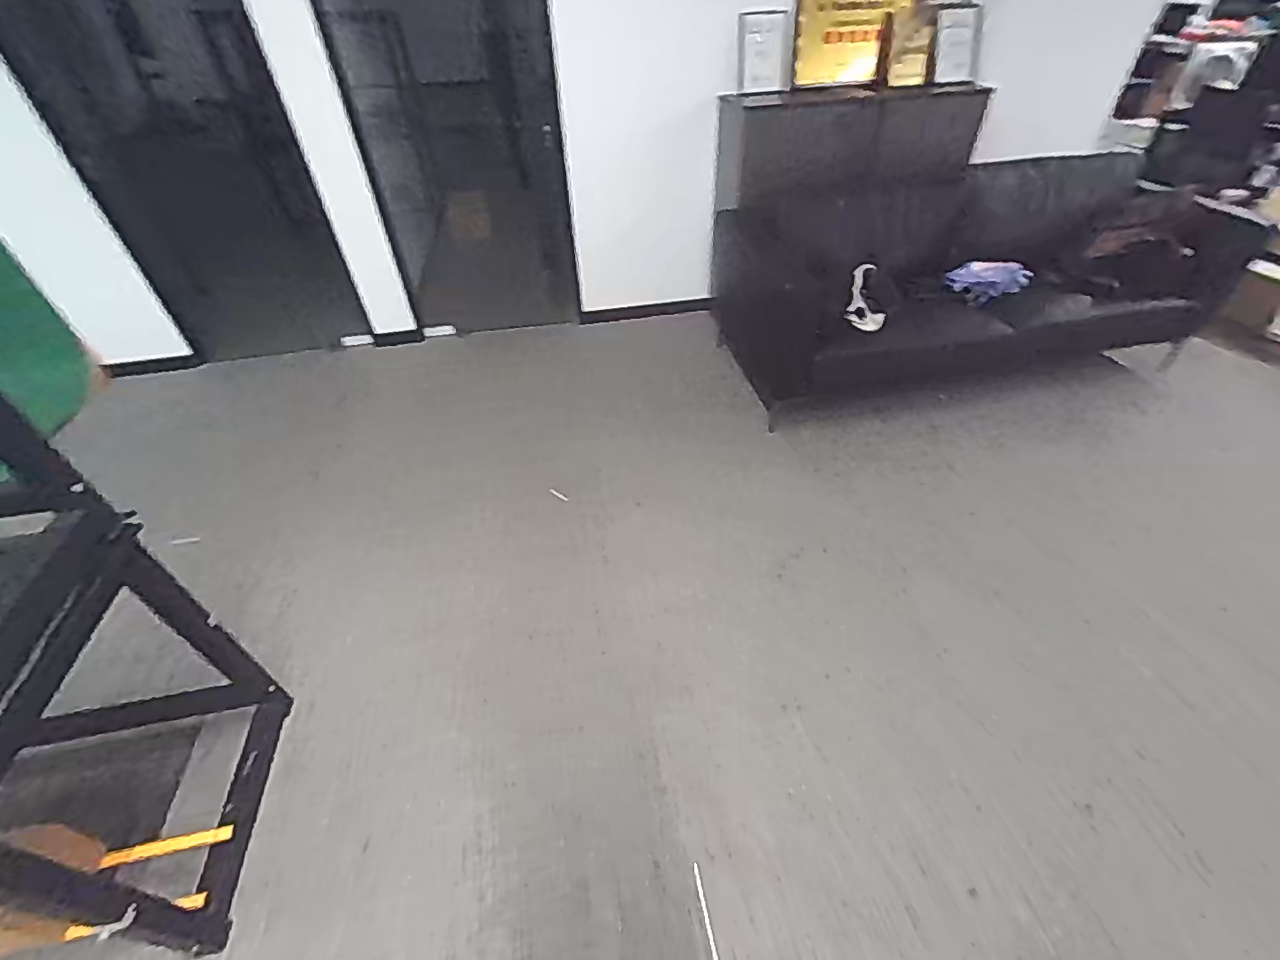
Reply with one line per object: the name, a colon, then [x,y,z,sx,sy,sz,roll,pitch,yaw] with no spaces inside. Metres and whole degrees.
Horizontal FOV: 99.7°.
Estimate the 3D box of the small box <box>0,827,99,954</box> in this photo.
small box: [-1.261,0.829,1.081,0.168,0.176,0.179,-6,42,-5]
